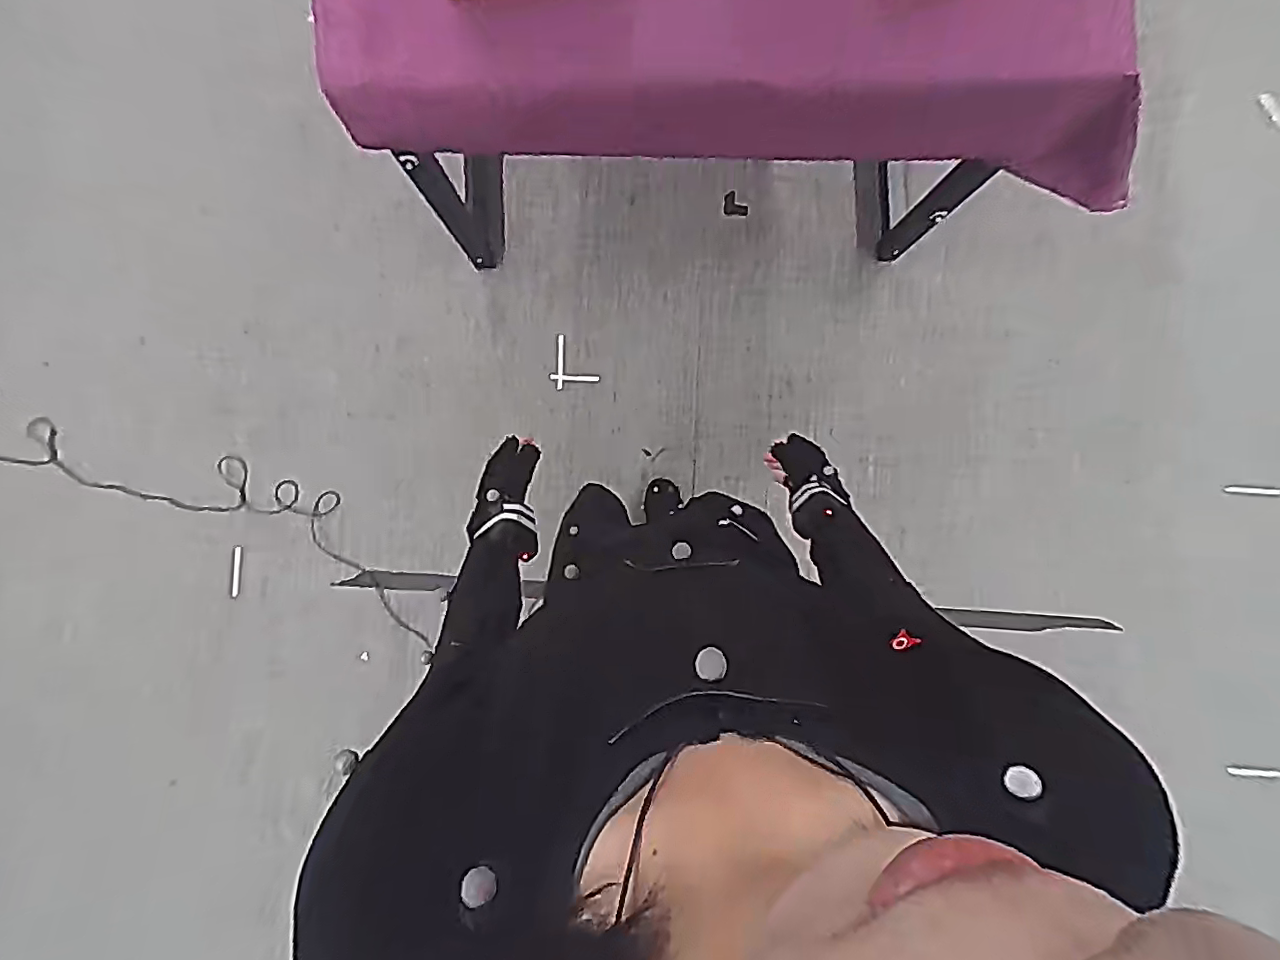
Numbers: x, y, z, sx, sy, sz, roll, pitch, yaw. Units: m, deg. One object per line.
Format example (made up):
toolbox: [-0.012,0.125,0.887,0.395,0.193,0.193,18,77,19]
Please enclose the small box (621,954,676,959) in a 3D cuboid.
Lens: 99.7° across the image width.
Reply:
small box: [0.025,1.367,1.373,0.168,0.176,0.179,2,88,0]
